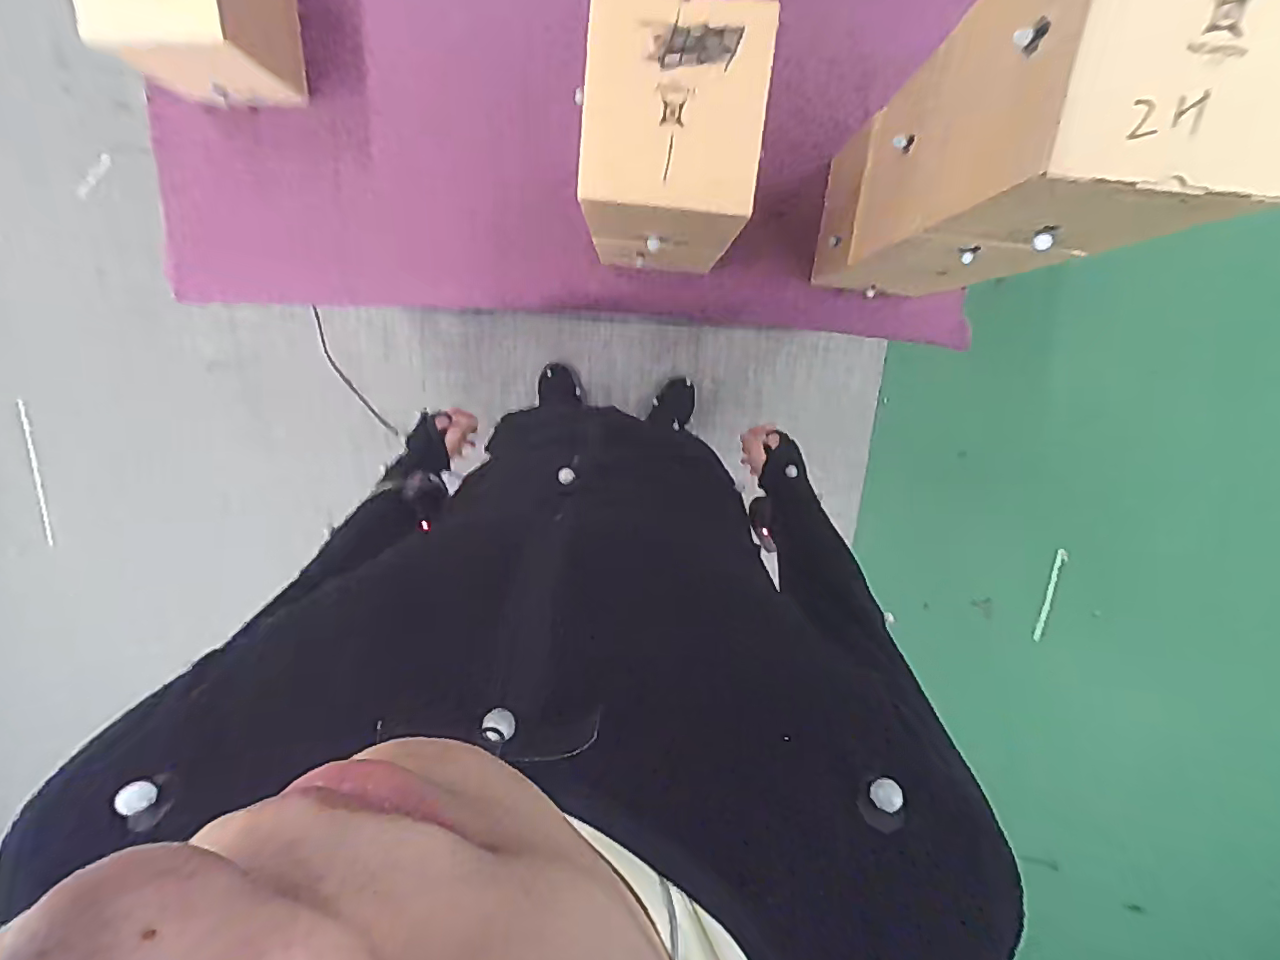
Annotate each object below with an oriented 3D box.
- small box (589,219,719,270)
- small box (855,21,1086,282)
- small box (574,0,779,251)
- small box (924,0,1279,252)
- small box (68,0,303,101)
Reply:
[{"bbox_3d":[0.029,-0.388,0.720,0.168,0.176,0.179,6,102,-1],"label":"small box"},{"bbox_3d":[0.345,-0.319,0.563,0.168,0.176,0.179,7,102,0],"label":"small box"},{"bbox_3d":[0.029,-0.354,0.559,0.168,0.176,0.179,7,103,-1],"label":"small box"},{"bbox_3d":[0.343,-0.285,0.401,0.168,0.176,0.179,7,104,0],"label":"small box"},{"bbox_3d":[-0.553,-0.605,0.667,0.168,0.176,0.179,1,104,0],"label":"small box"}]
